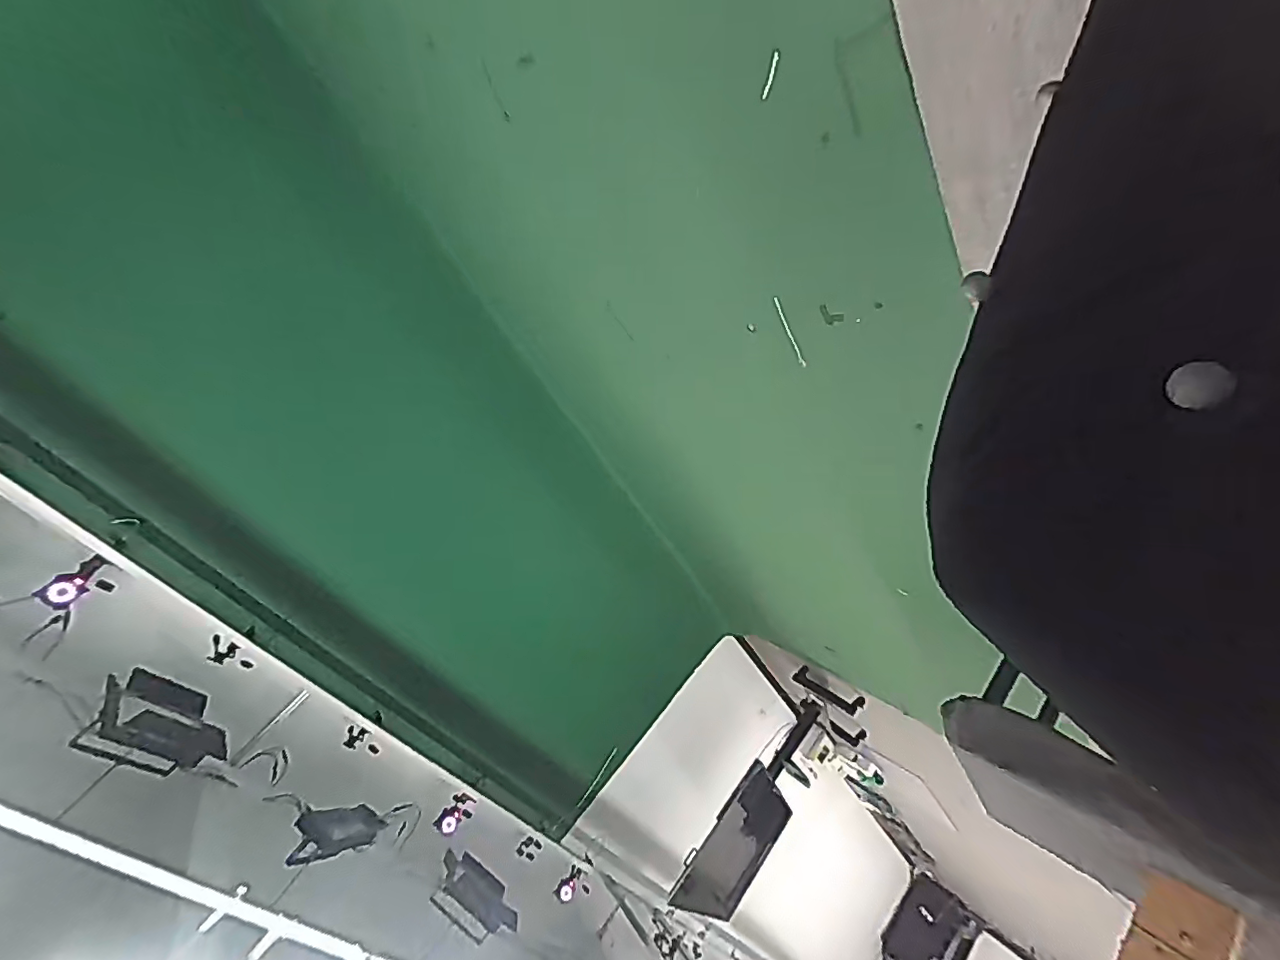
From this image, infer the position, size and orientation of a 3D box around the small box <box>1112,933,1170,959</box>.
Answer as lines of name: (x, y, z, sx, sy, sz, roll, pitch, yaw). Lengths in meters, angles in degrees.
small box: (1.321, 1.321, 1.379, 0.179, 0.176, 0.168, 54, 160, -26)

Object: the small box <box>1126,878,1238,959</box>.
small box: (1.429, 1.210, 1.423, 0.179, 0.176, 0.168, 15, 146, 56)
